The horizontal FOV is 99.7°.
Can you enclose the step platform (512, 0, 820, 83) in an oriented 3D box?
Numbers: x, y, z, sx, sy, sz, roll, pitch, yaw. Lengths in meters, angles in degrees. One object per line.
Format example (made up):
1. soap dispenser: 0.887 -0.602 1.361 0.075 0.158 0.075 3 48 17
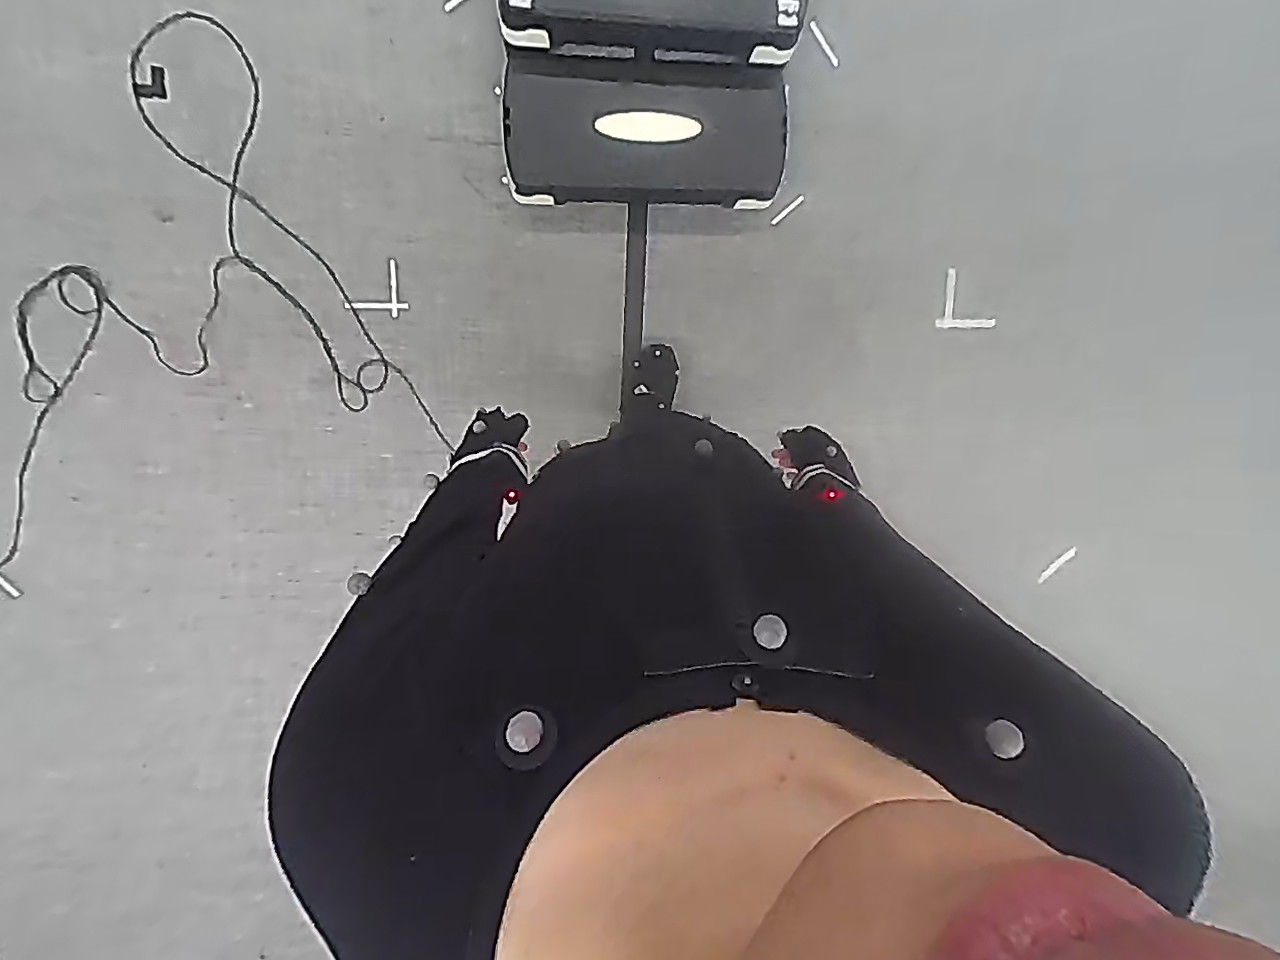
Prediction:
1. step platform: 0.055 -1.109 1.208 0.684 0.204 0.286 -1 99 -6
